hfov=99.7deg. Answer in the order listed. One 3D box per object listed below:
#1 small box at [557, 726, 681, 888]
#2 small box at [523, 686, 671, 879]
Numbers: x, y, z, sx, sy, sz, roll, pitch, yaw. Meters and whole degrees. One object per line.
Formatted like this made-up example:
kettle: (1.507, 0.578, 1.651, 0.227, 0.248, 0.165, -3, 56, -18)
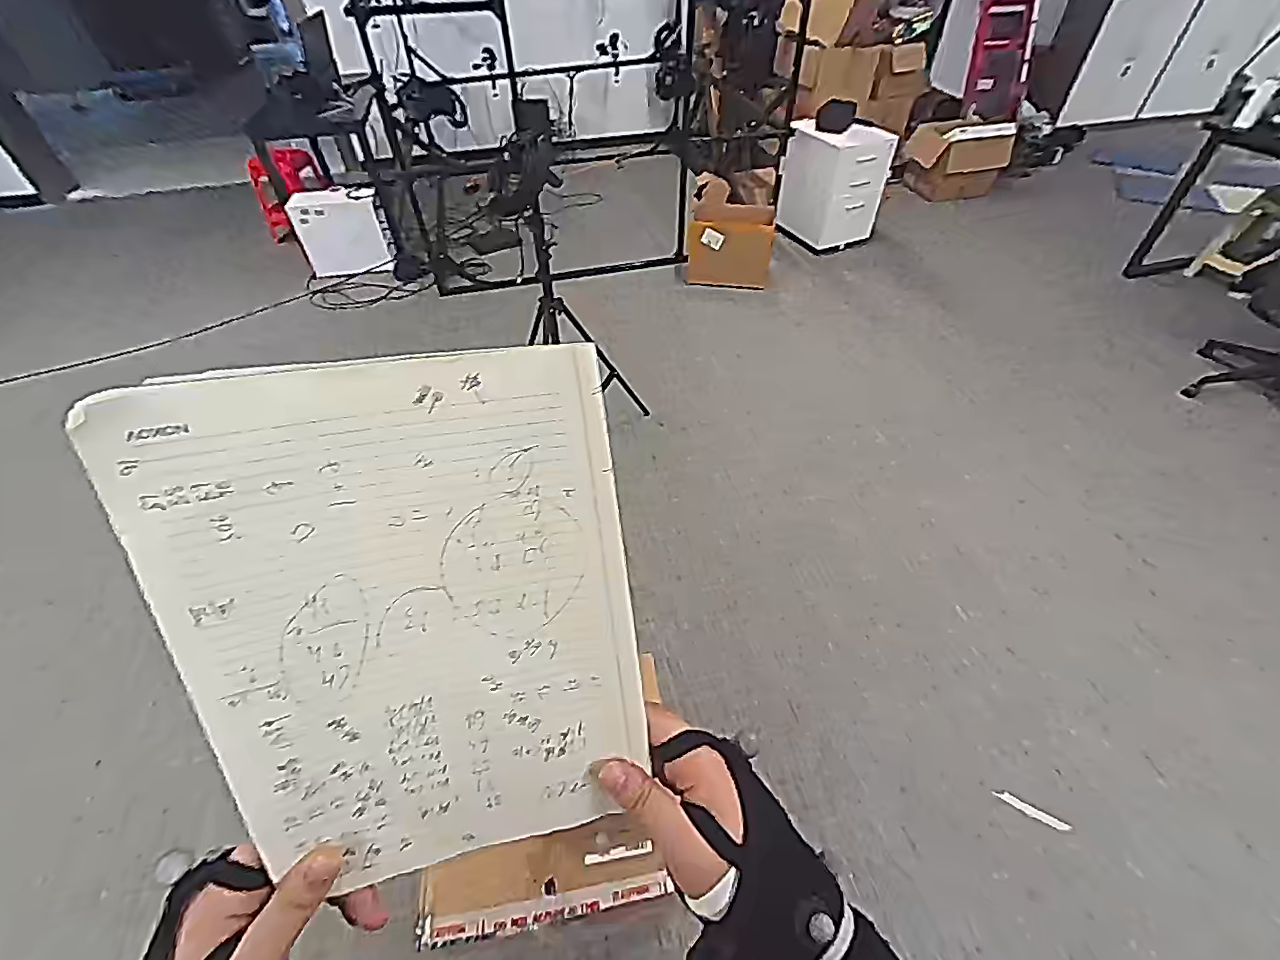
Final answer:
small box: (-0.046, 0.501, 0.830, 0.179, 0.176, 0.168, -8, 48, -9)
small box: (-0.060, 0.393, 0.705, 0.168, 0.176, 0.179, -5, 49, -7)
